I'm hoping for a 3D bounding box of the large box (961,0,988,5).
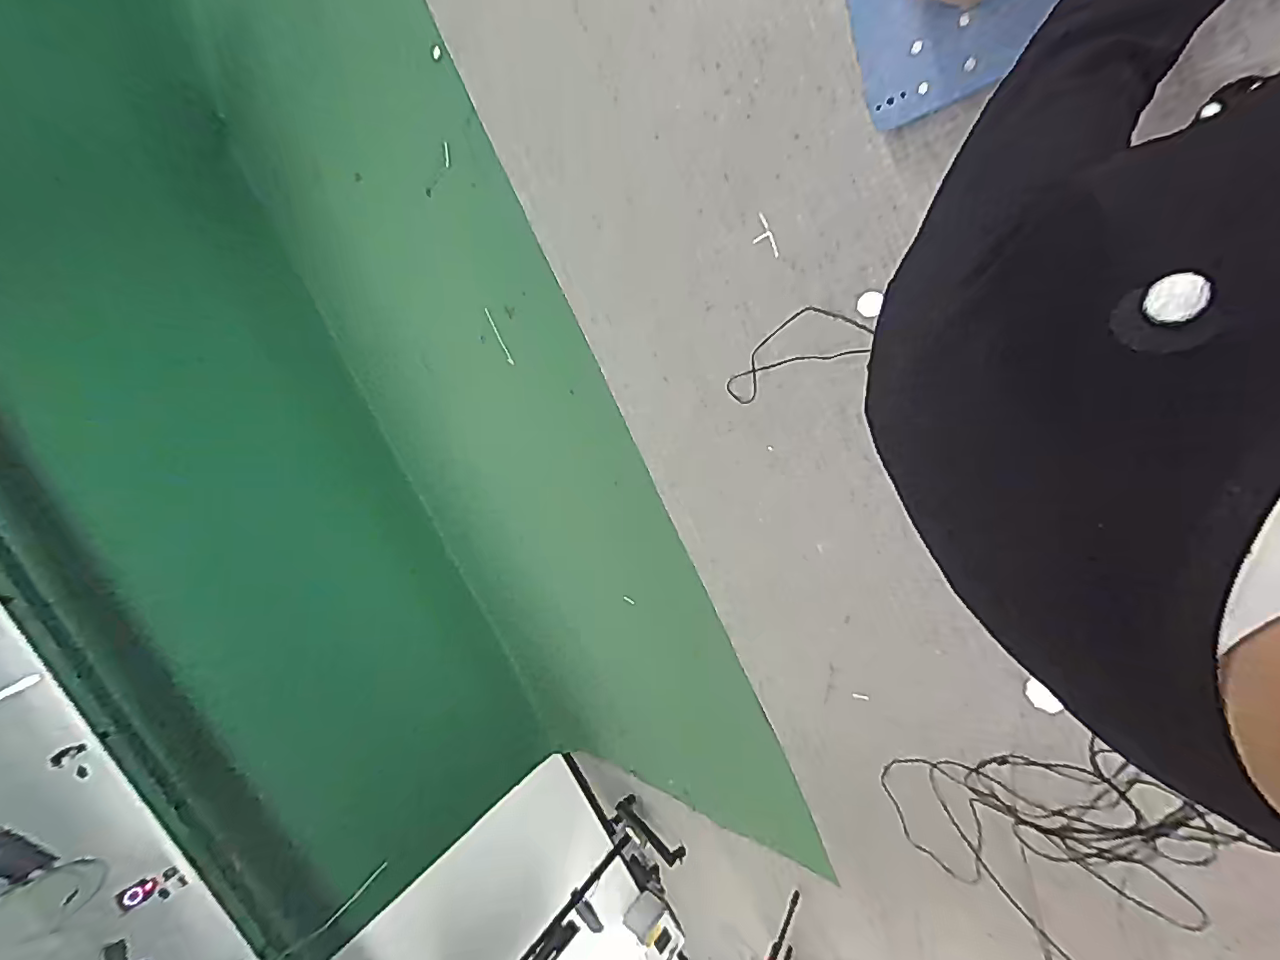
[{"bbox_3d":[0.510,-0.940,0.686,0.320,0.320,0.408,-4,113,51],"label":"large box"}]
